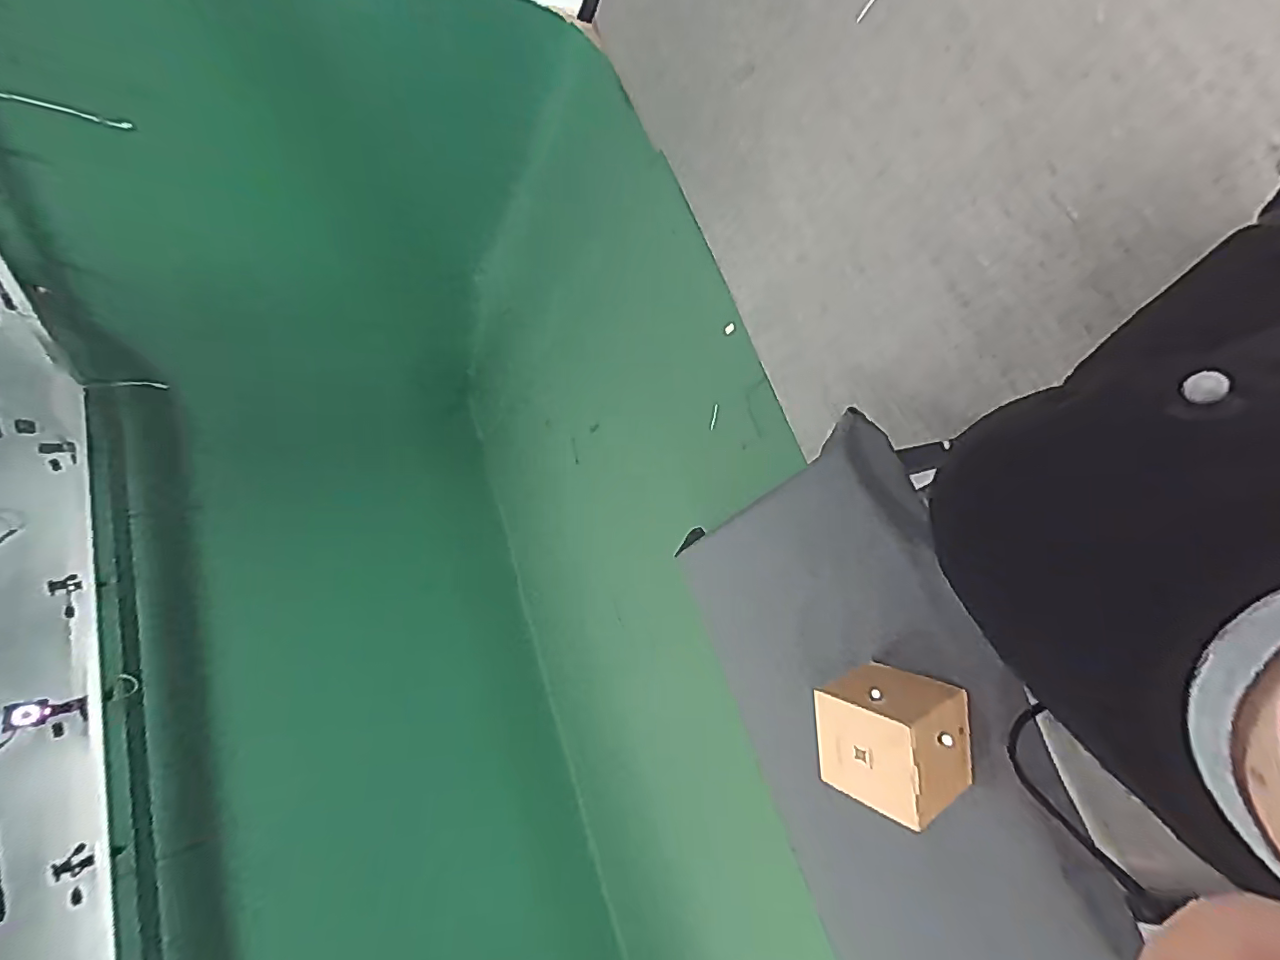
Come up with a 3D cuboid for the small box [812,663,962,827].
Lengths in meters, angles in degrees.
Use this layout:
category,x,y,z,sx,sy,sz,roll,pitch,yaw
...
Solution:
category,x,y,z,sx,sy,sz,roll,pitch,yaw
small box,0.421,0.429,0.914,0.179,0.176,0.168,0,96,57
